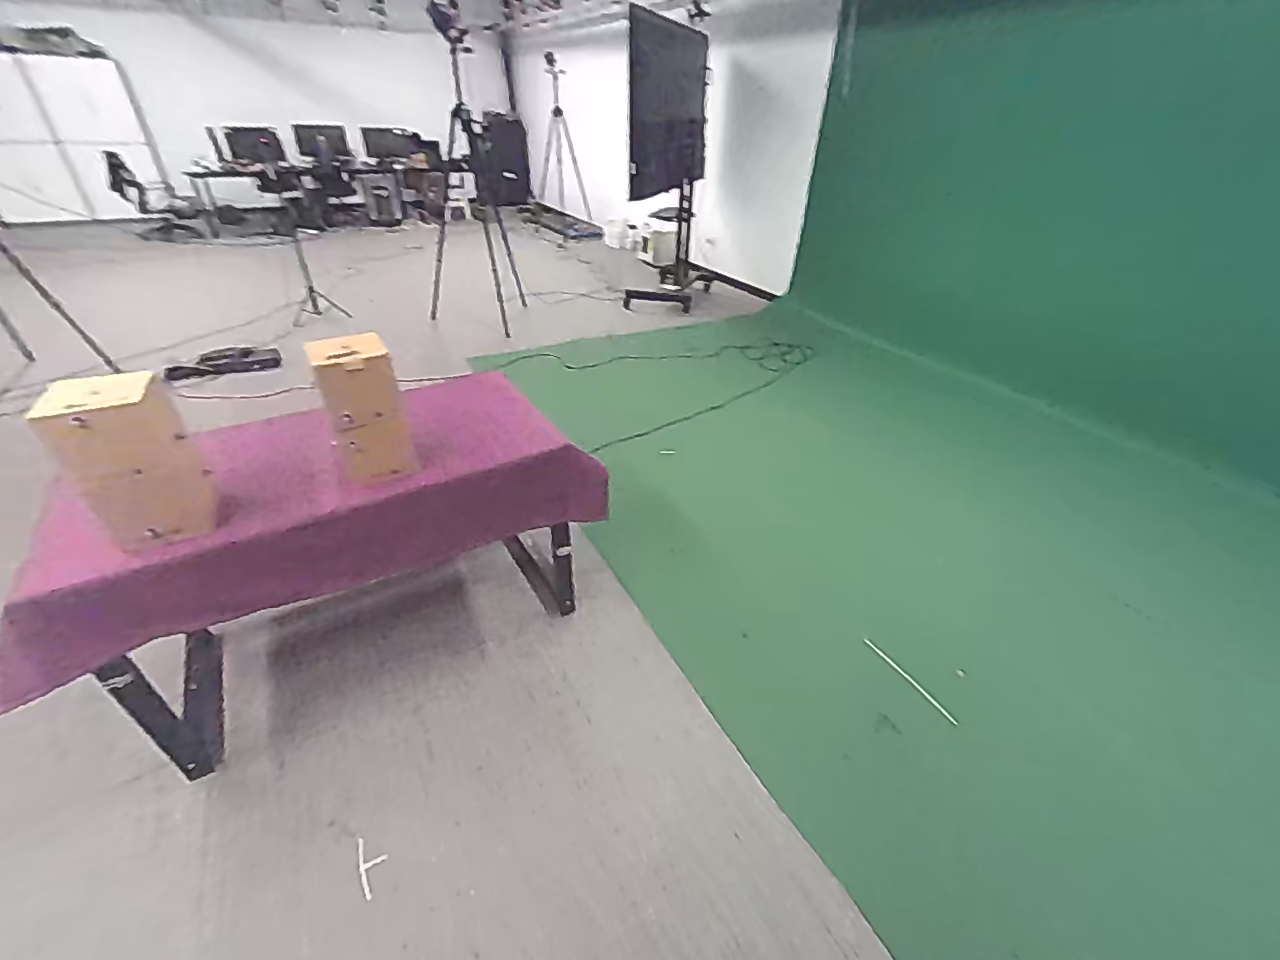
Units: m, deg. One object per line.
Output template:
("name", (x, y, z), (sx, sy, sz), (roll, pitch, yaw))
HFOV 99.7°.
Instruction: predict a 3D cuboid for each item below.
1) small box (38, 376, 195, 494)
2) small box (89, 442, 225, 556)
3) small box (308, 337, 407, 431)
("small box", (-1.067, -0.096, 1.123), (0.168, 0.176, 0.179), (-17, 37, -22))
("small box", (-1.069, 0.041, 1.217), (0.168, 0.176, 0.179), (-16, 38, -22))
("small box", (-0.695, -0.234, 1.337), (0.168, 0.176, 0.179), (-19, 38, -27))
